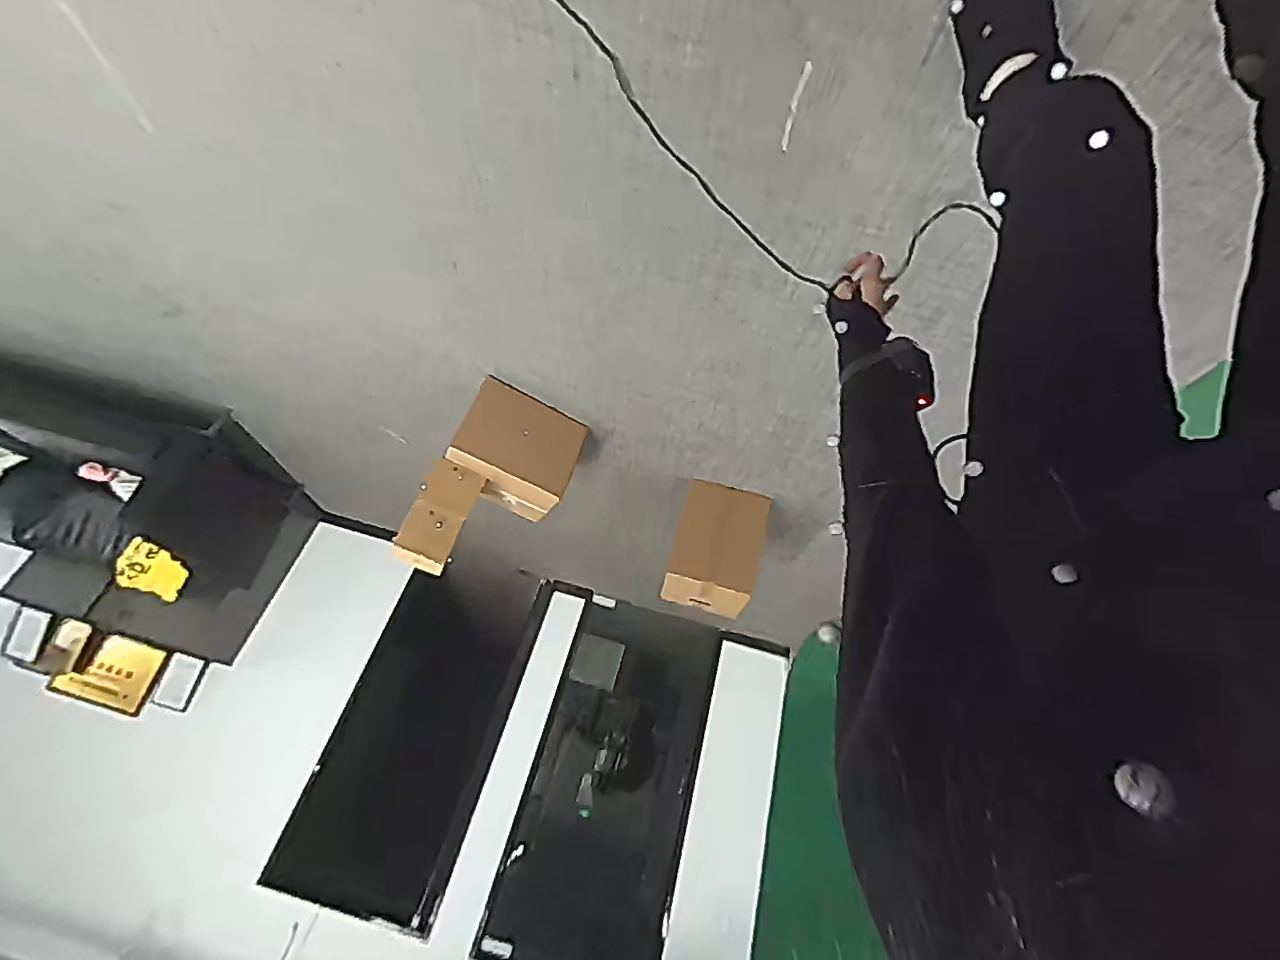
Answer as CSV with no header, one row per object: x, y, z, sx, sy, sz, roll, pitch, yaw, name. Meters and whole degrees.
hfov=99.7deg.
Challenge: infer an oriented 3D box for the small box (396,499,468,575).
-0.683,0.188,1.777,0.168,0.176,0.179,25,150,-13,small box
